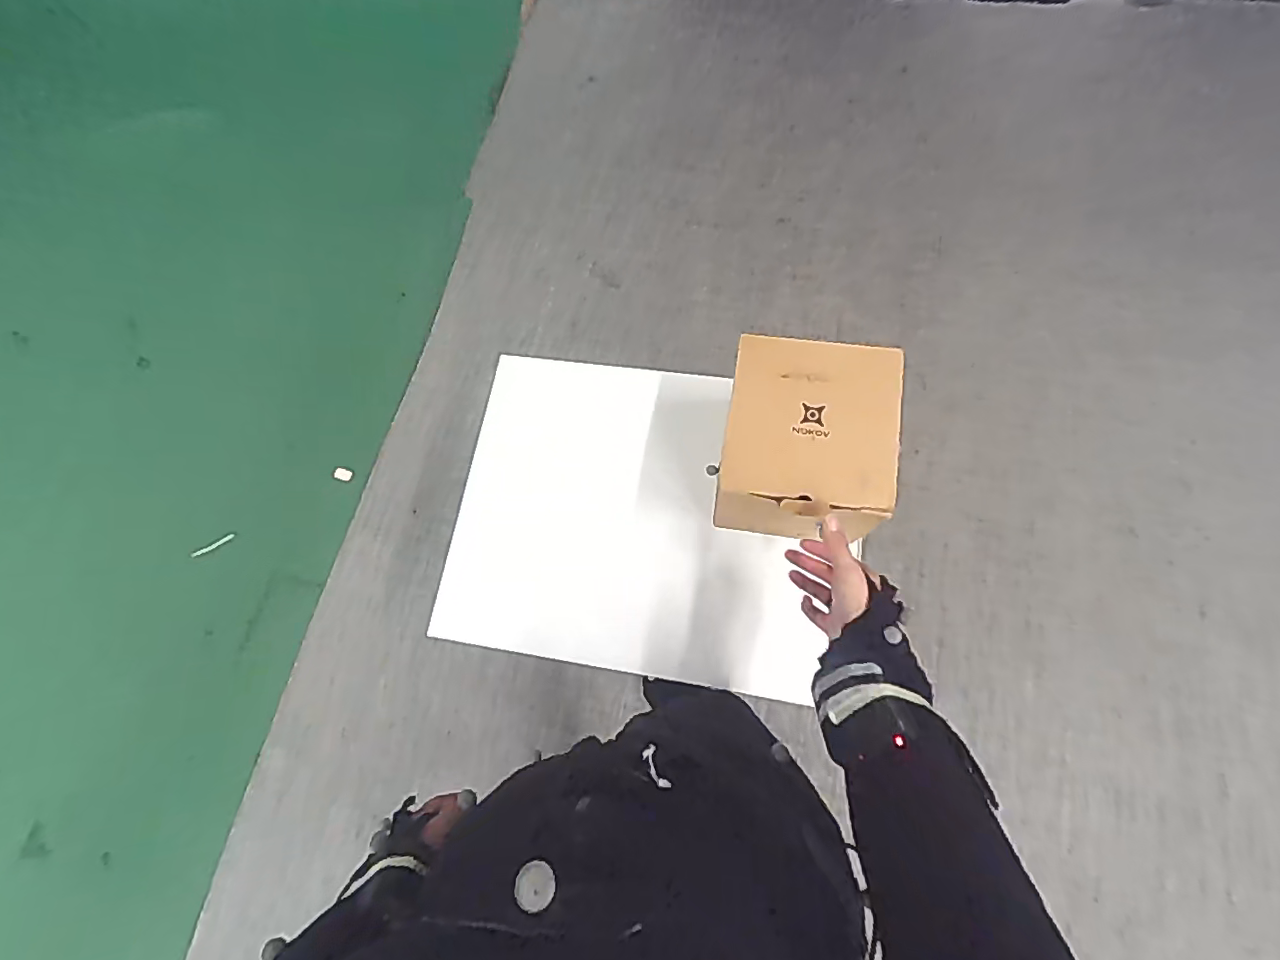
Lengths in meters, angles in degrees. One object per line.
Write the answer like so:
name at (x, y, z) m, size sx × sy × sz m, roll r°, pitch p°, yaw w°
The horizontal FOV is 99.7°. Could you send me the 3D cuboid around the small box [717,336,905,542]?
small box at (0.179, -0.035, 0.607) m, size 0.168 × 0.176 × 0.179 m, roll 8°, pitch 73°, yaw 8°
